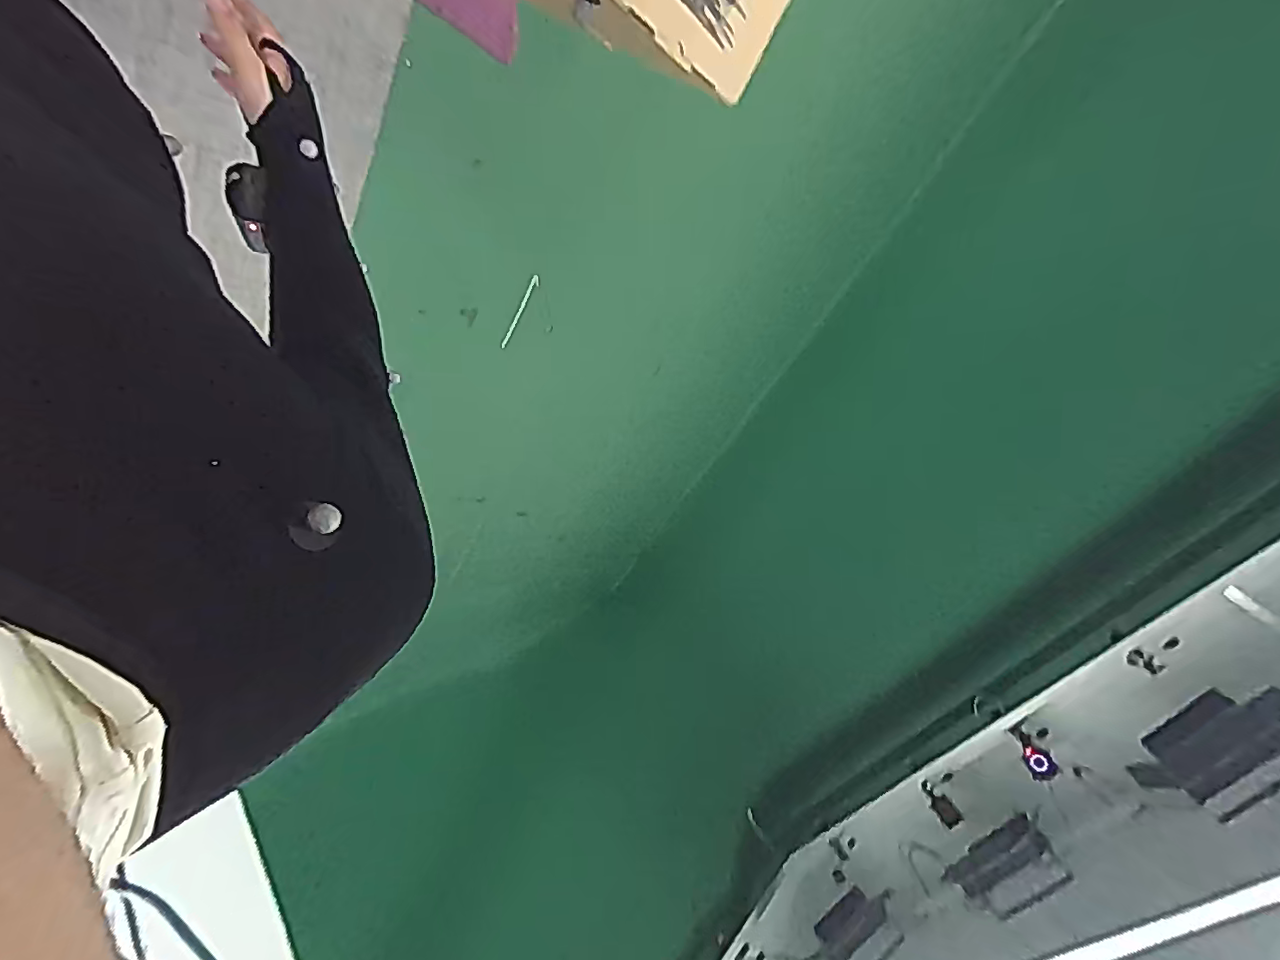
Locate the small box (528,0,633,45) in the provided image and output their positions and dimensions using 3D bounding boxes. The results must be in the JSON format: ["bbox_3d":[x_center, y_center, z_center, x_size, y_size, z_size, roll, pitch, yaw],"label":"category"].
[{"bbox_3d":[-0.081,-0.540,0.463,0.168,0.176,0.179,-1,134,-53],"label":"small box"}]
